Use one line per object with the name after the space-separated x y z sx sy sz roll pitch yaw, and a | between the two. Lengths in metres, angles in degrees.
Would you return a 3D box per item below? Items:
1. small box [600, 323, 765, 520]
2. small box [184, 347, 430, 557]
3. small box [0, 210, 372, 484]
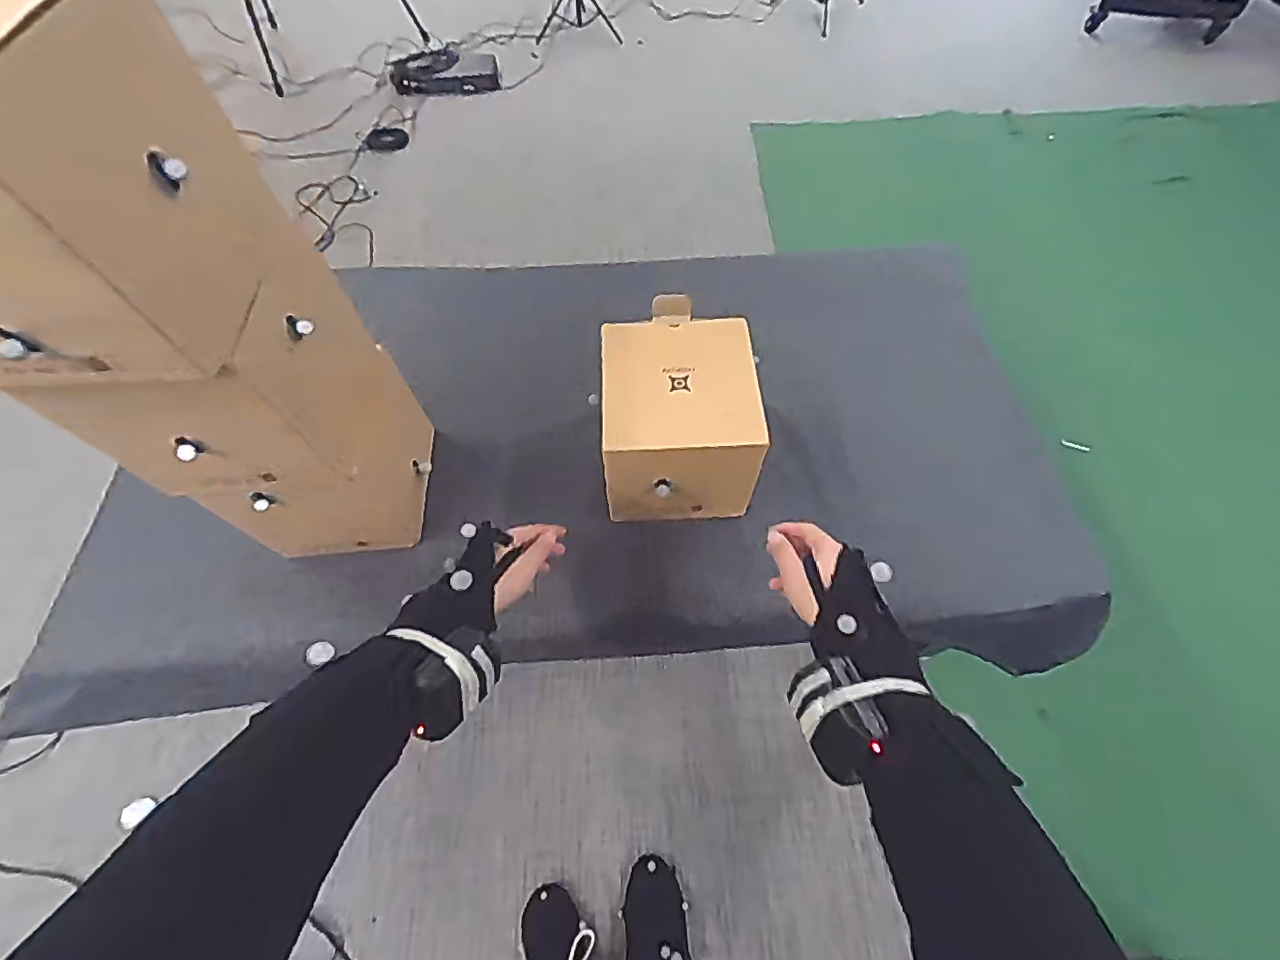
0.042 -0.059 0.640 0.168 0.176 0.179 -2 59 -1 | small box
-0.355 -0.028 0.621 0.168 0.176 0.179 -4 59 -2 | small box
-0.361 -0.105 0.475 0.168 0.176 0.179 -3 60 -2 | small box
